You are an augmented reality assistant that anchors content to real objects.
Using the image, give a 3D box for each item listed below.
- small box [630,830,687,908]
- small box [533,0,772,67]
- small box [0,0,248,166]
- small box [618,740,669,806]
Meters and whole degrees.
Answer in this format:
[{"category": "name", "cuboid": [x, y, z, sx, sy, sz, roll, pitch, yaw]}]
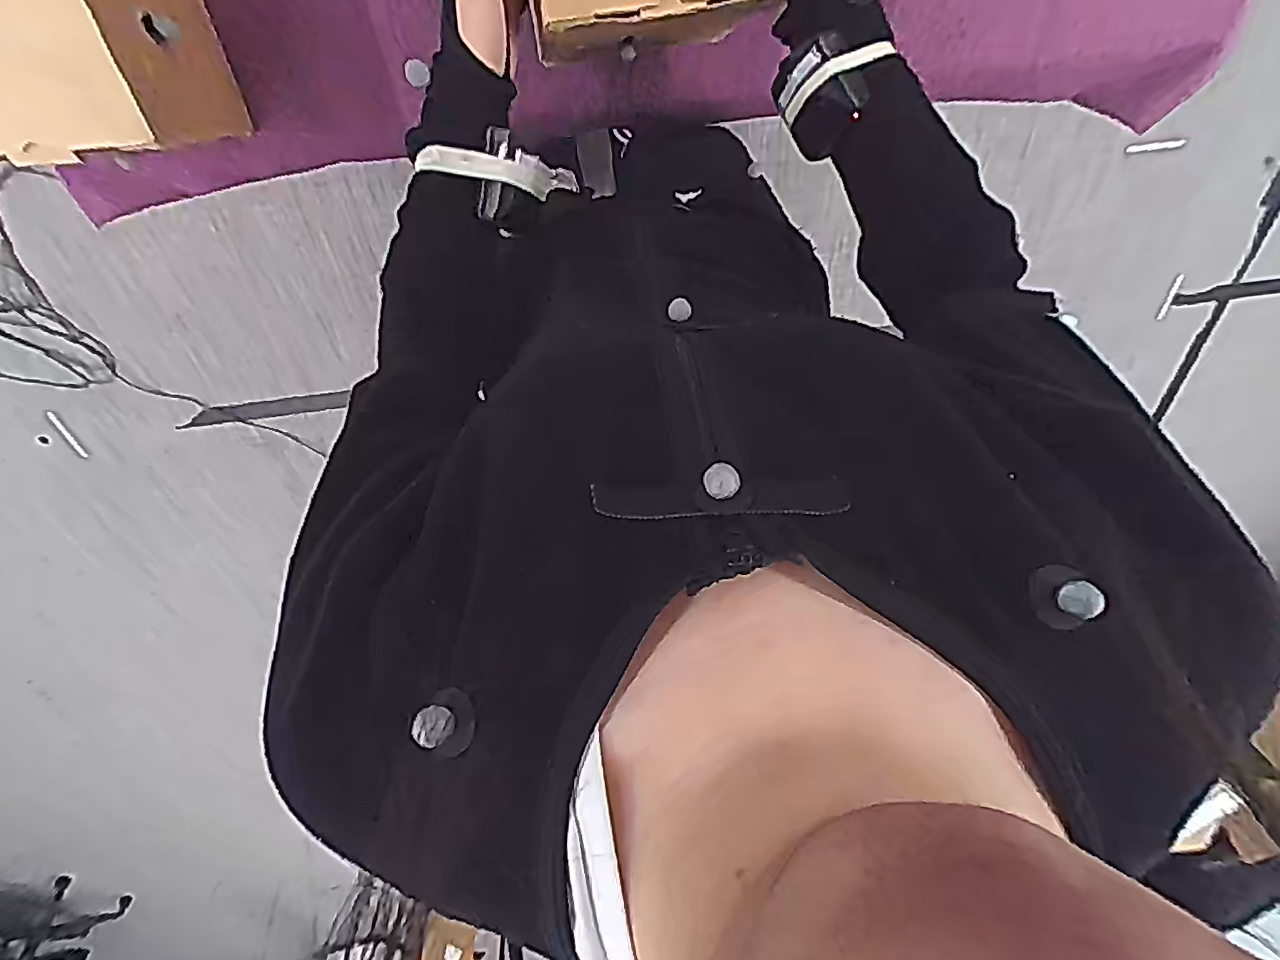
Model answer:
[{"category": "small box", "cuboid": [0.059, 1.355, 1.888, 0.179, 0.176, 0.168, -6, 127, -6]}, {"category": "small box", "cuboid": [-0.006, -0.423, 0.382, 0.168, 0.176, 0.179, -12, 121, -3]}, {"category": "small box", "cuboid": [-0.443, -0.348, 0.403, 0.168, 0.176, 0.179, -8, 127, -5]}, {"category": "small box", "cuboid": [0.012, 1.161, 2.149, 0.179, 0.176, 0.168, -8, 126, -2]}]
